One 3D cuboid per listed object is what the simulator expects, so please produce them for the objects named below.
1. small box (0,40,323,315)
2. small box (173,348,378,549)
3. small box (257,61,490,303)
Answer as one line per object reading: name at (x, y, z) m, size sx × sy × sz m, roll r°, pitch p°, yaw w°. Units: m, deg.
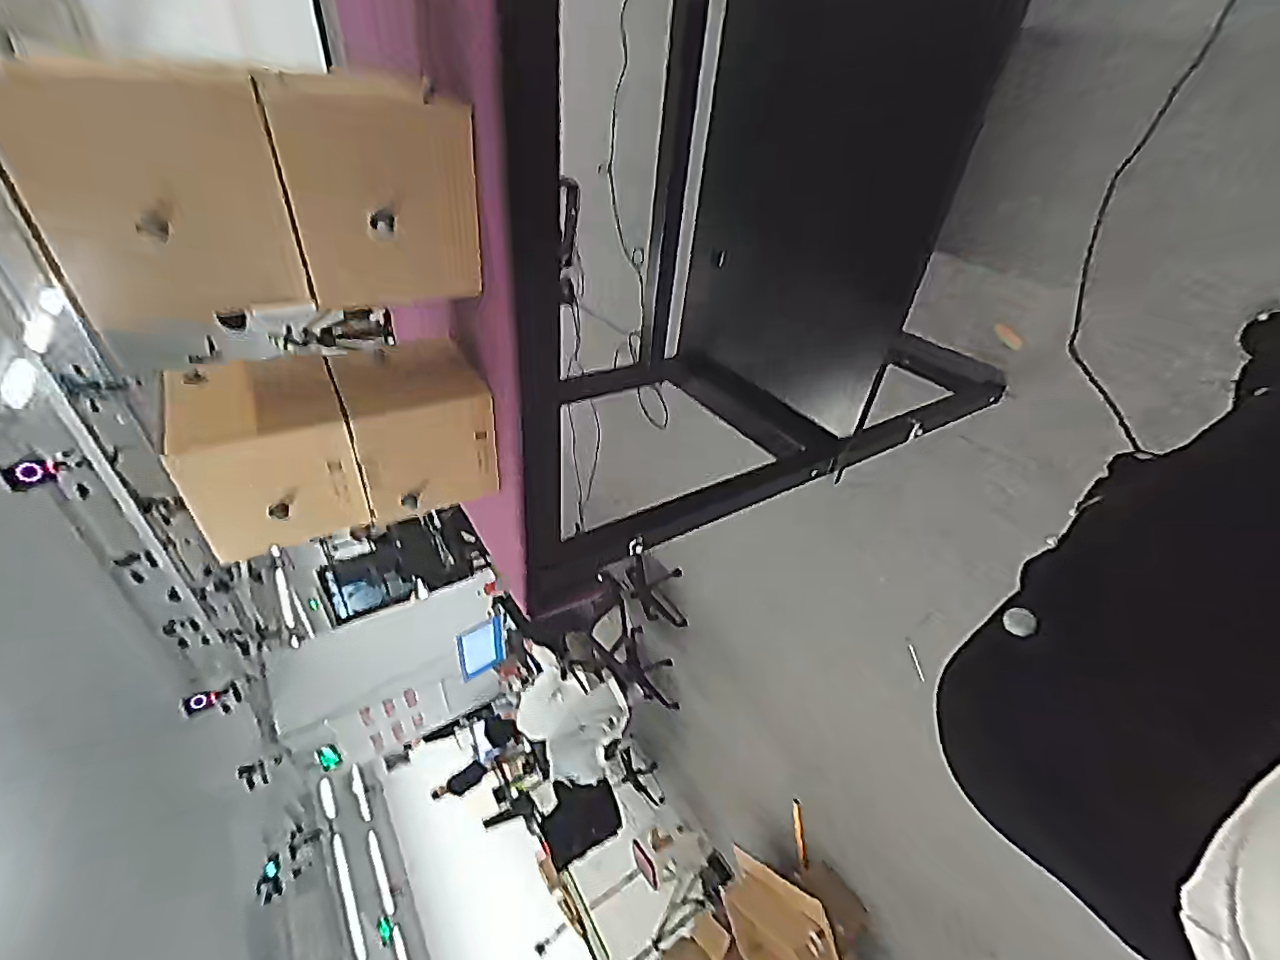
small box at (-0.408, -0.274, 0.489) m, size 0.168 × 0.176 × 0.179 m, roll 47°, pitch 144°, yaw 38°
small box at (-0.440, -0.049, 0.673) m, size 0.179 × 0.176 × 0.168 m, roll 50°, pitch 145°, yaw 37°
small box at (-0.268, -0.311, 0.565) m, size 0.168 × 0.176 × 0.179 m, roll 49°, pitch 146°, yaw 36°
